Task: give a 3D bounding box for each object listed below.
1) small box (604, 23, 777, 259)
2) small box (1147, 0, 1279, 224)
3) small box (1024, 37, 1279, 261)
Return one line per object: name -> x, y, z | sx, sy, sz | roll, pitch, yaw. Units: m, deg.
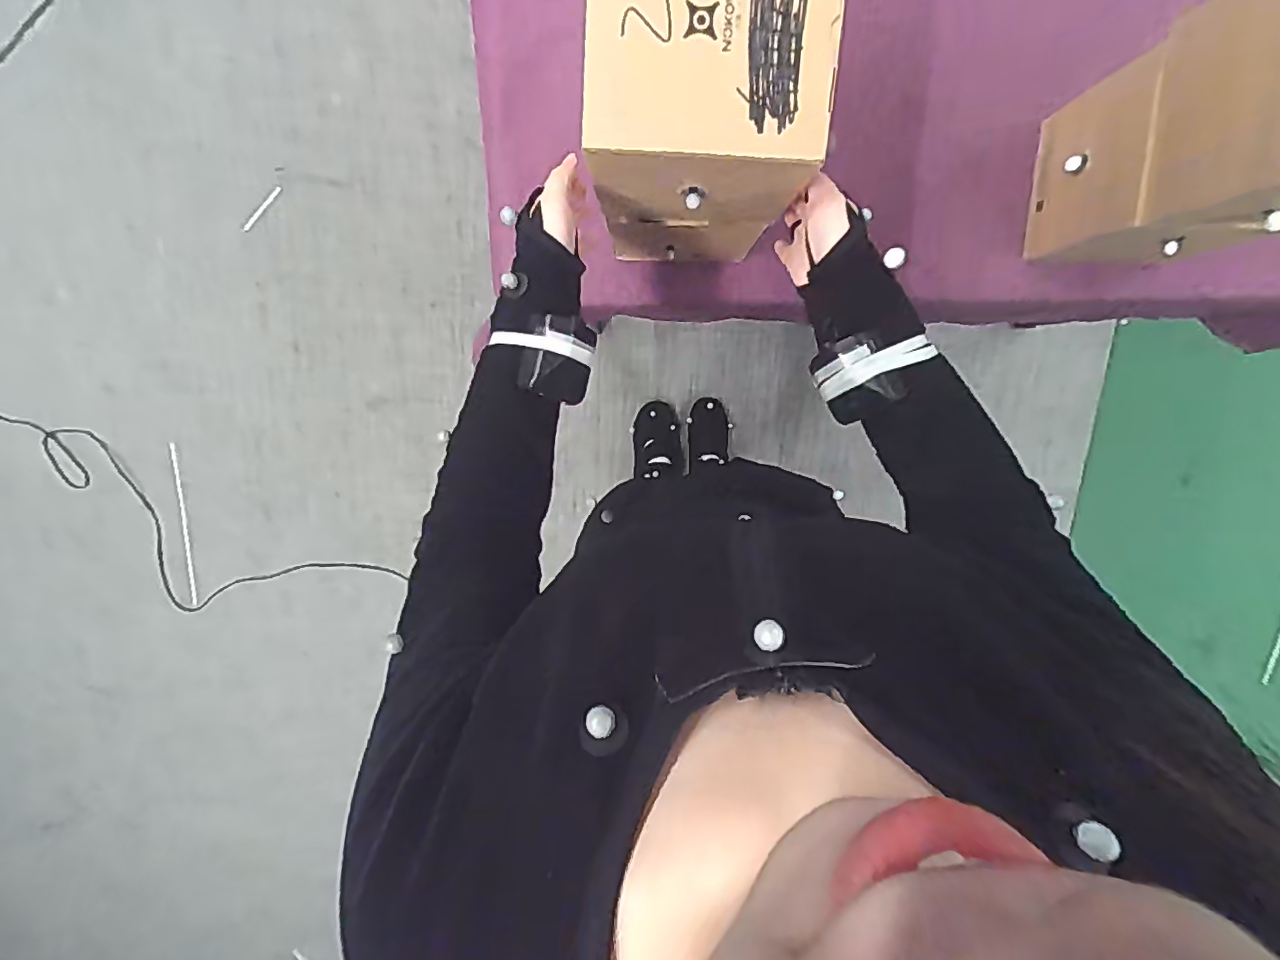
small box -> 0.048, -0.360, 0.605 | 0.168, 0.176, 0.179 | 1, 101, 1
small box -> 0.564, -0.321, 0.430 | 0.168, 0.176, 0.179 | -1, 101, 2
small box -> 0.569, -0.344, 0.593 | 0.179, 0.176, 0.168 | 2, 101, 1
